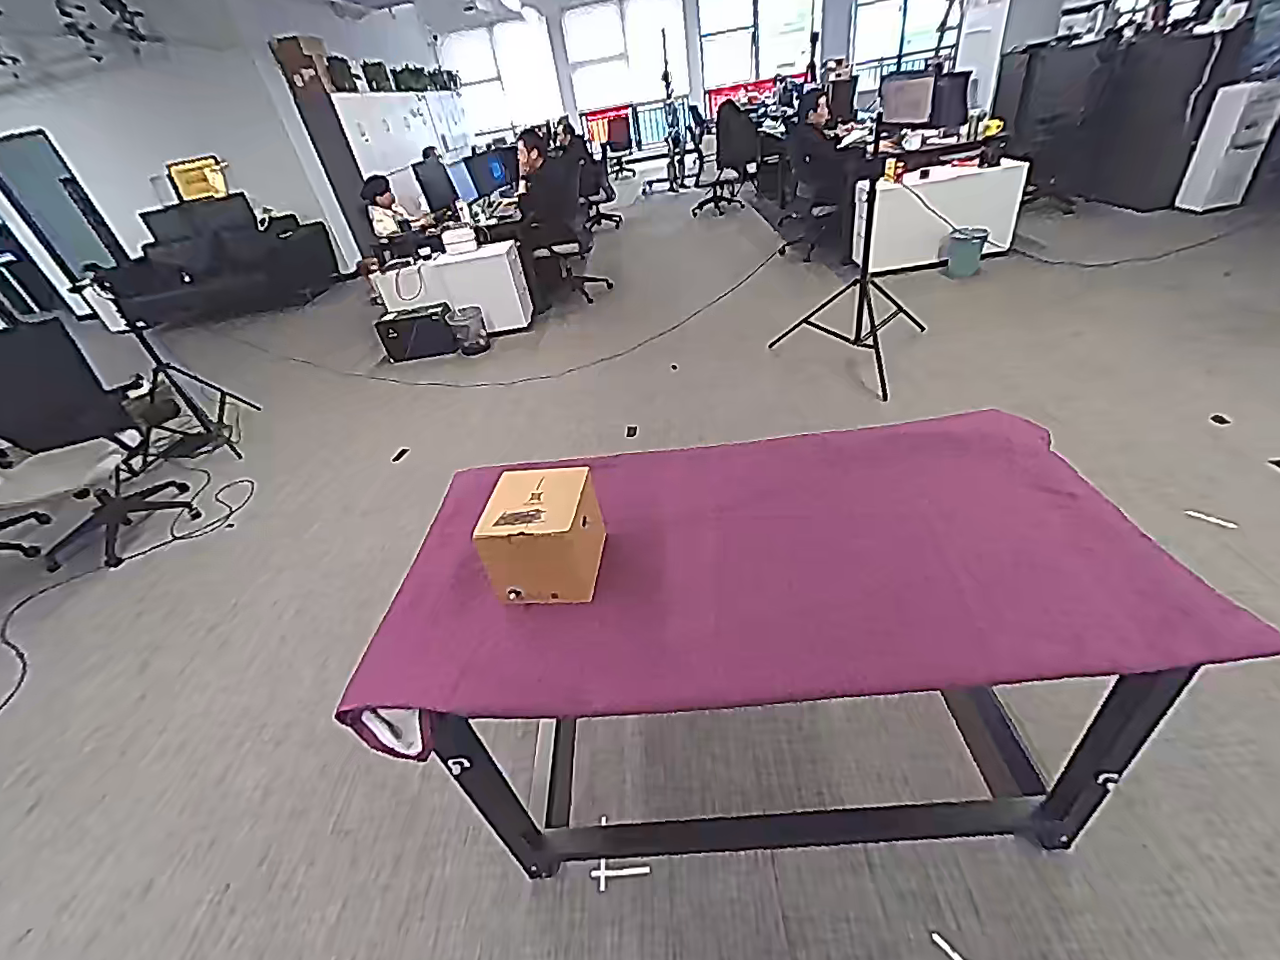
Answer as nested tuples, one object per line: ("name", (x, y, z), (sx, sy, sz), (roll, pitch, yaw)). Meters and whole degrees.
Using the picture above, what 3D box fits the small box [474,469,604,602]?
("small box", (-0.167, 0.102, 0.965), (0.168, 0.176, 0.179), (-3, 36, 10))
